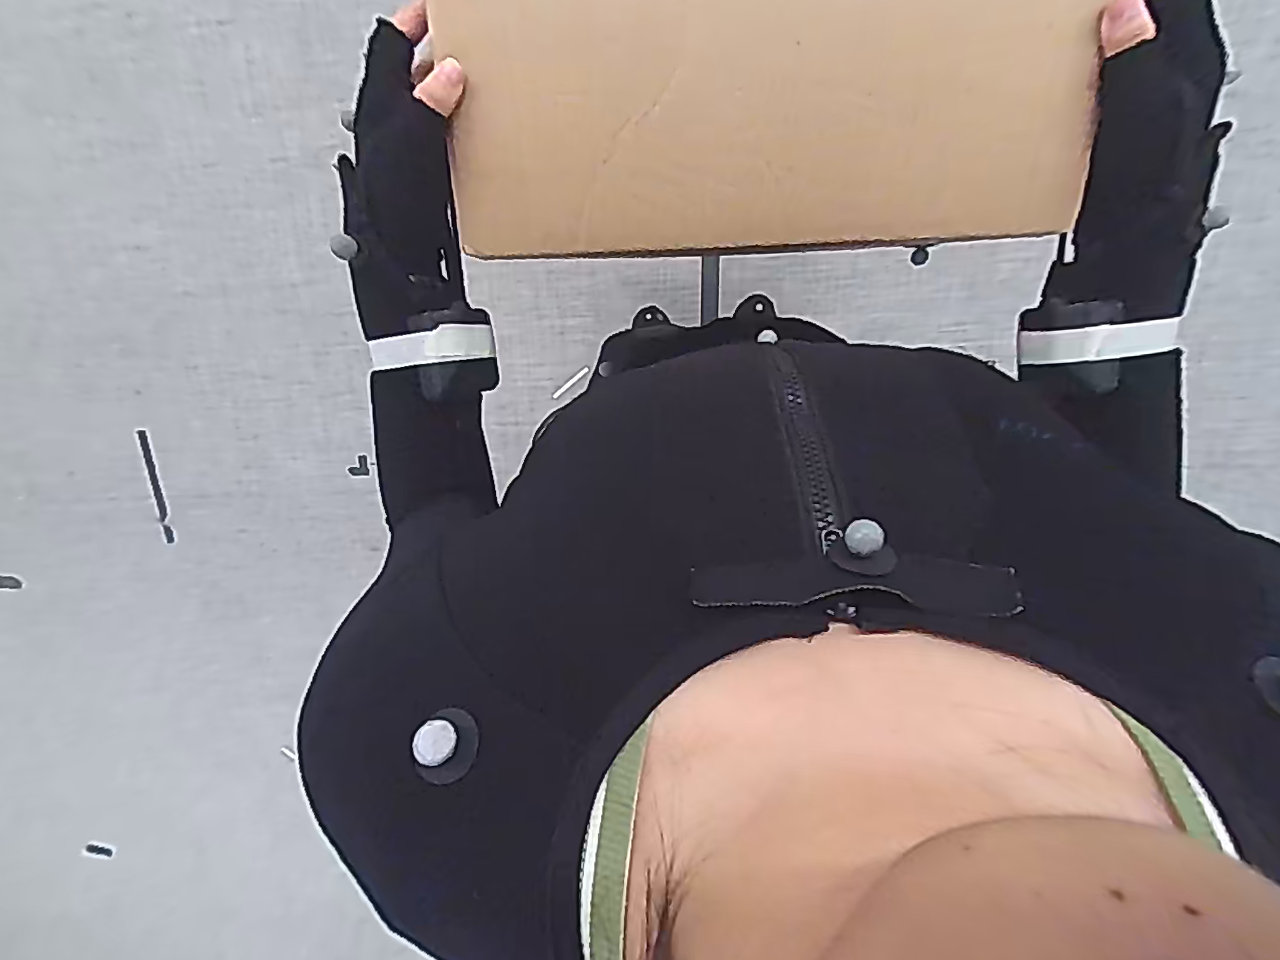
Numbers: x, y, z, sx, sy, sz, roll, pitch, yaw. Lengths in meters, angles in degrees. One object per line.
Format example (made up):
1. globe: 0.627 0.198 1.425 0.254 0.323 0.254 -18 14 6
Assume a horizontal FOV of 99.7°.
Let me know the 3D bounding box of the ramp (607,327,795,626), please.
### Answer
1. ramp: 0.181 0.055 1.628 0.509 0.206 0.991 -3 107 3

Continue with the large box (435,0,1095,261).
1. large box: 0.076 -0.362 0.453 0.408 0.320 0.320 -2 112 1
